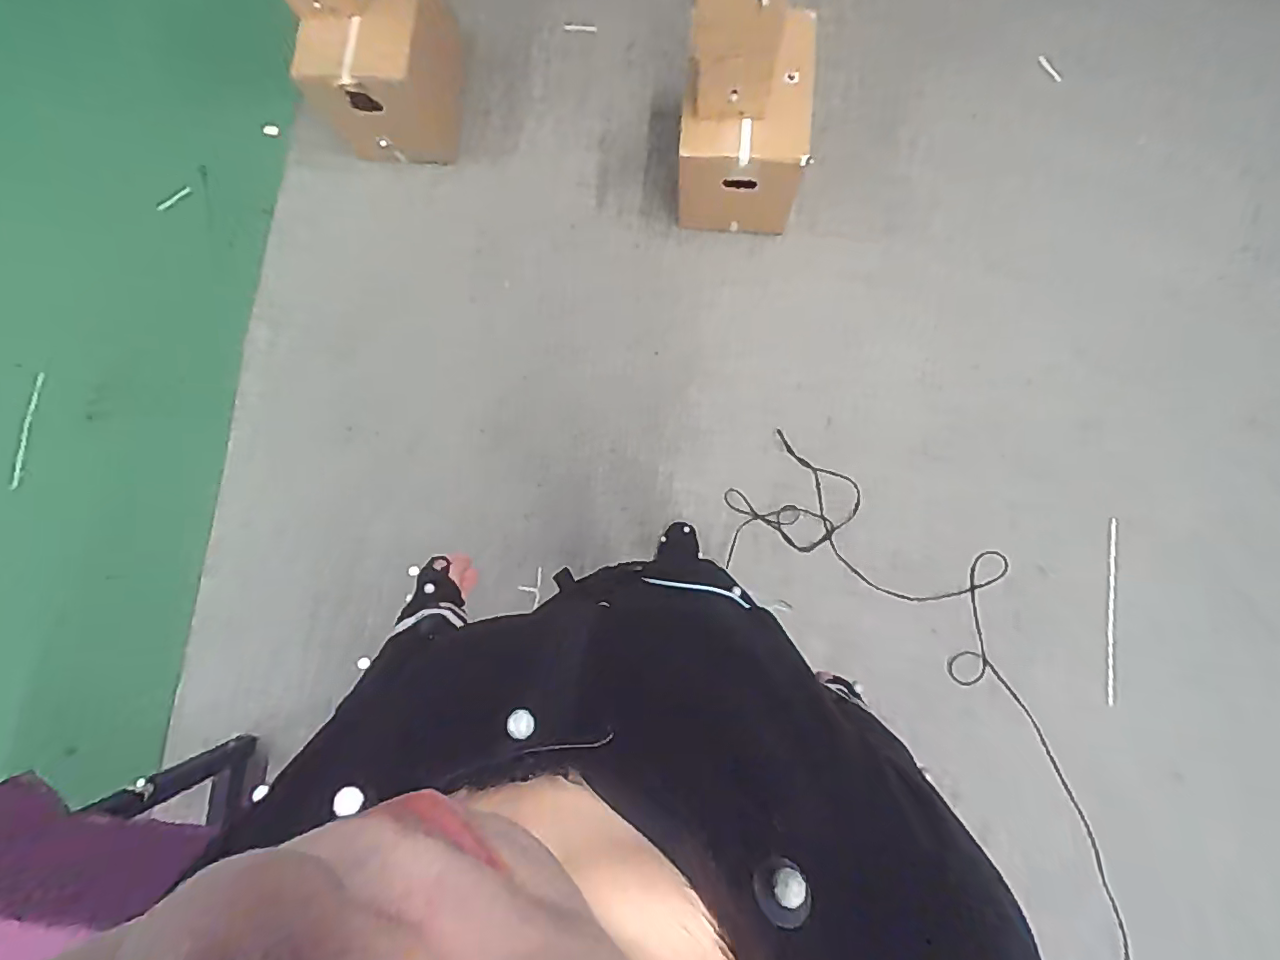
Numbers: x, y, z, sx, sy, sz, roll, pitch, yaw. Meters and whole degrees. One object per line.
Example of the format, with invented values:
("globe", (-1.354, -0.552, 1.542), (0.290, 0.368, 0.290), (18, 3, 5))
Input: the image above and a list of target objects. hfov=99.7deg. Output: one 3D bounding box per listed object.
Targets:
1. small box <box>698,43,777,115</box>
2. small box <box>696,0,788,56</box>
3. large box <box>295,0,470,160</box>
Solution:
("small box", (0.218, -0.962, 1.224), (0.168, 0.176, 0.179), (2, 85, 5))
("small box", (0.201, -0.976, 1.059), (0.179, 0.176, 0.168), (2, 83, 6))
("large box", (-0.714, -1.206, 1.554), (0.320, 0.320, 0.408), (5, 83, 5))
